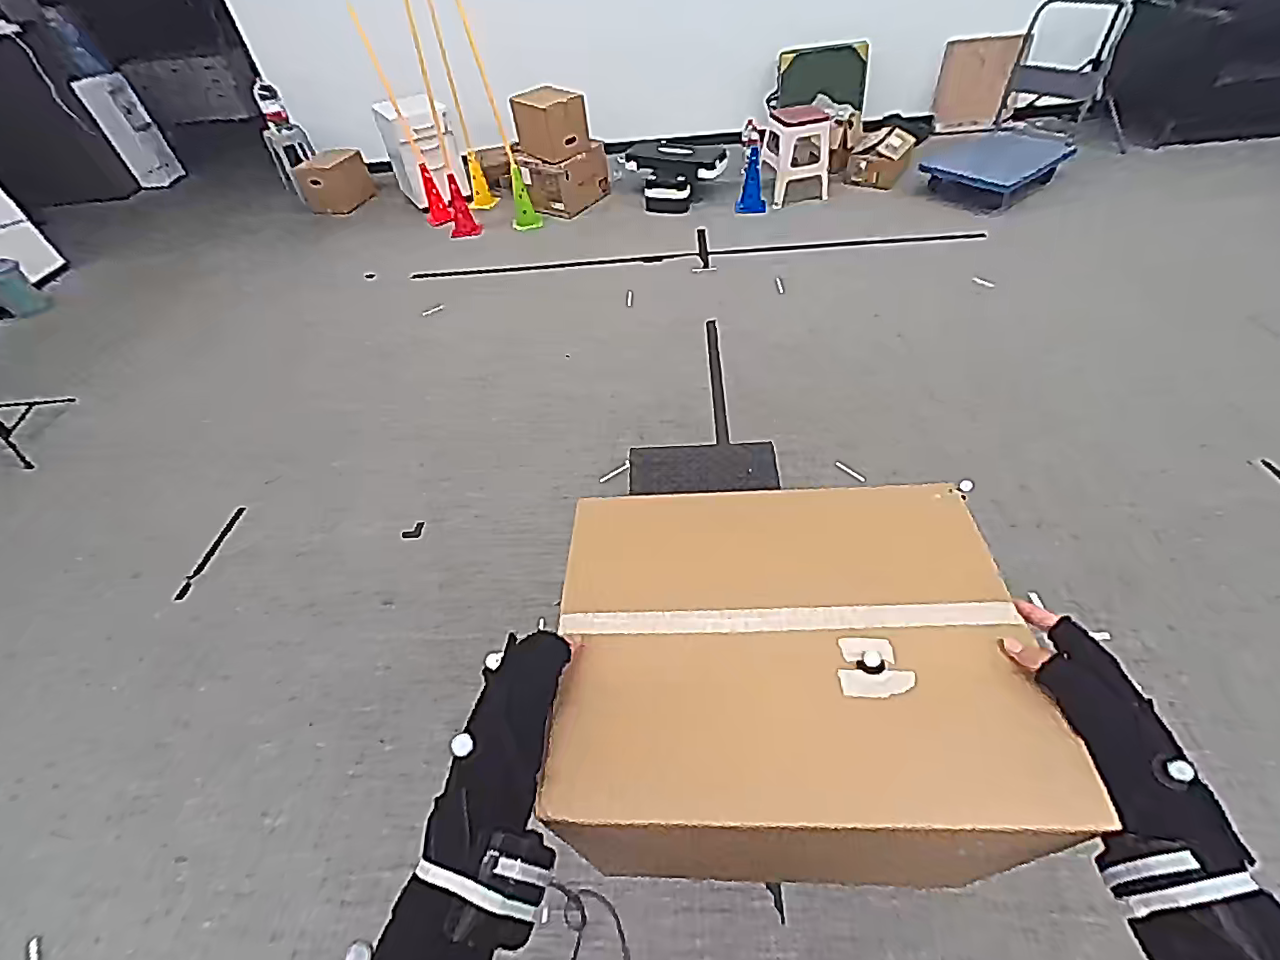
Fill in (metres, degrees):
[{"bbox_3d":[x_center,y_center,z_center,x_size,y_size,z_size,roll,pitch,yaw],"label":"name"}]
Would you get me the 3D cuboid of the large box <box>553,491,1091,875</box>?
[{"bbox_3d":[0.144,0.234,0.610,0.408,0.320,0.320,-2,48,5],"label":"large box"}]
